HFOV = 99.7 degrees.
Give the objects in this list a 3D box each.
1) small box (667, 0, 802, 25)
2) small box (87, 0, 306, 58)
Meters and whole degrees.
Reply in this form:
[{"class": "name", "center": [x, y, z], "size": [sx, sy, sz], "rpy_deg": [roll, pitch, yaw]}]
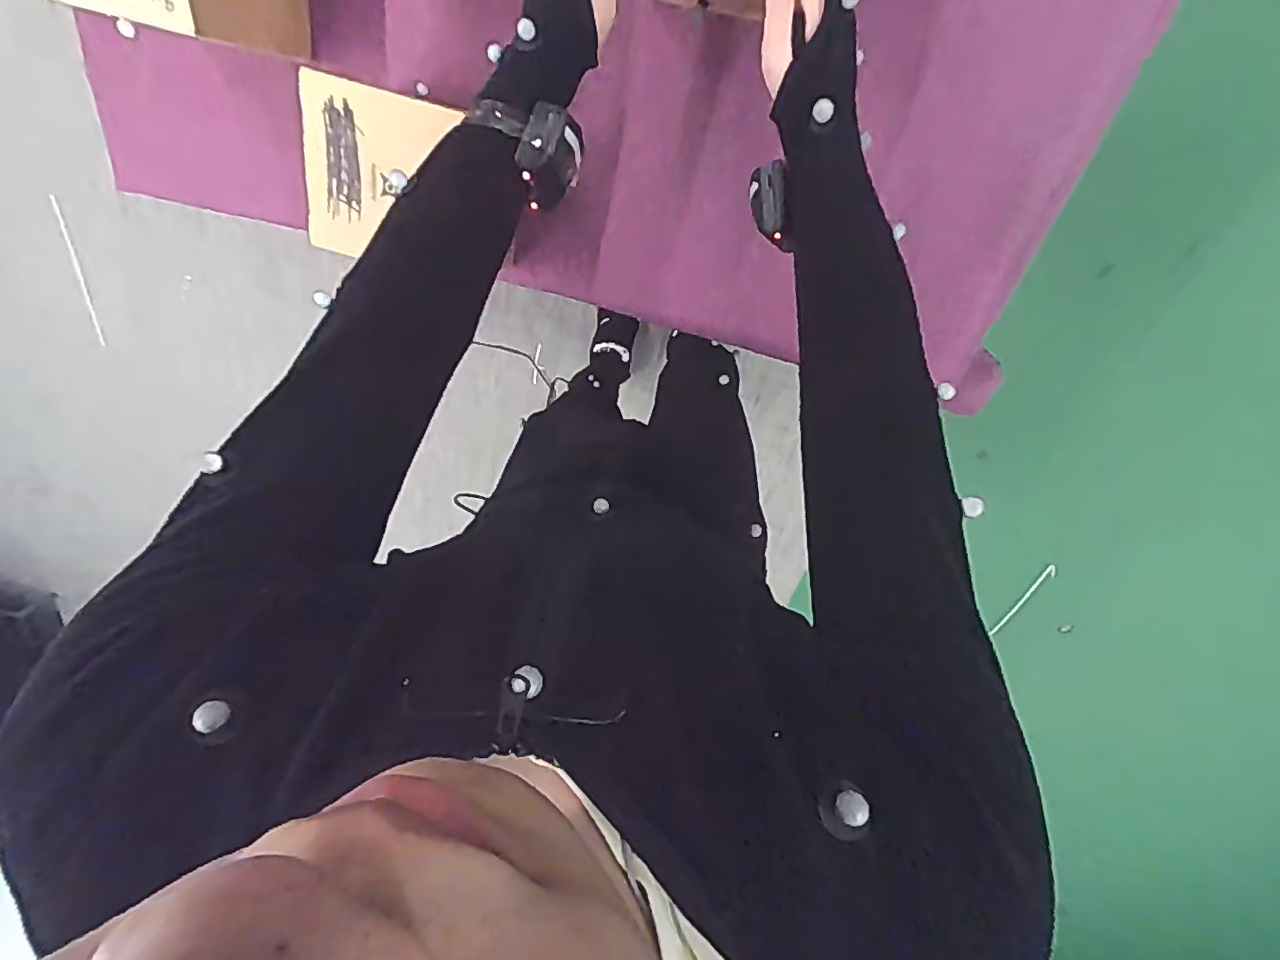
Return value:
[{"class": "small box", "center": [0.084, -0.524, 0.455], "size": [0.168, 0.176, 0.179], "rpy_deg": [15, 123, 4]}, {"class": "small box", "center": [-0.472, -0.564, 0.544], "size": [0.168, 0.176, 0.179], "rpy_deg": [17, 122, 3]}]
